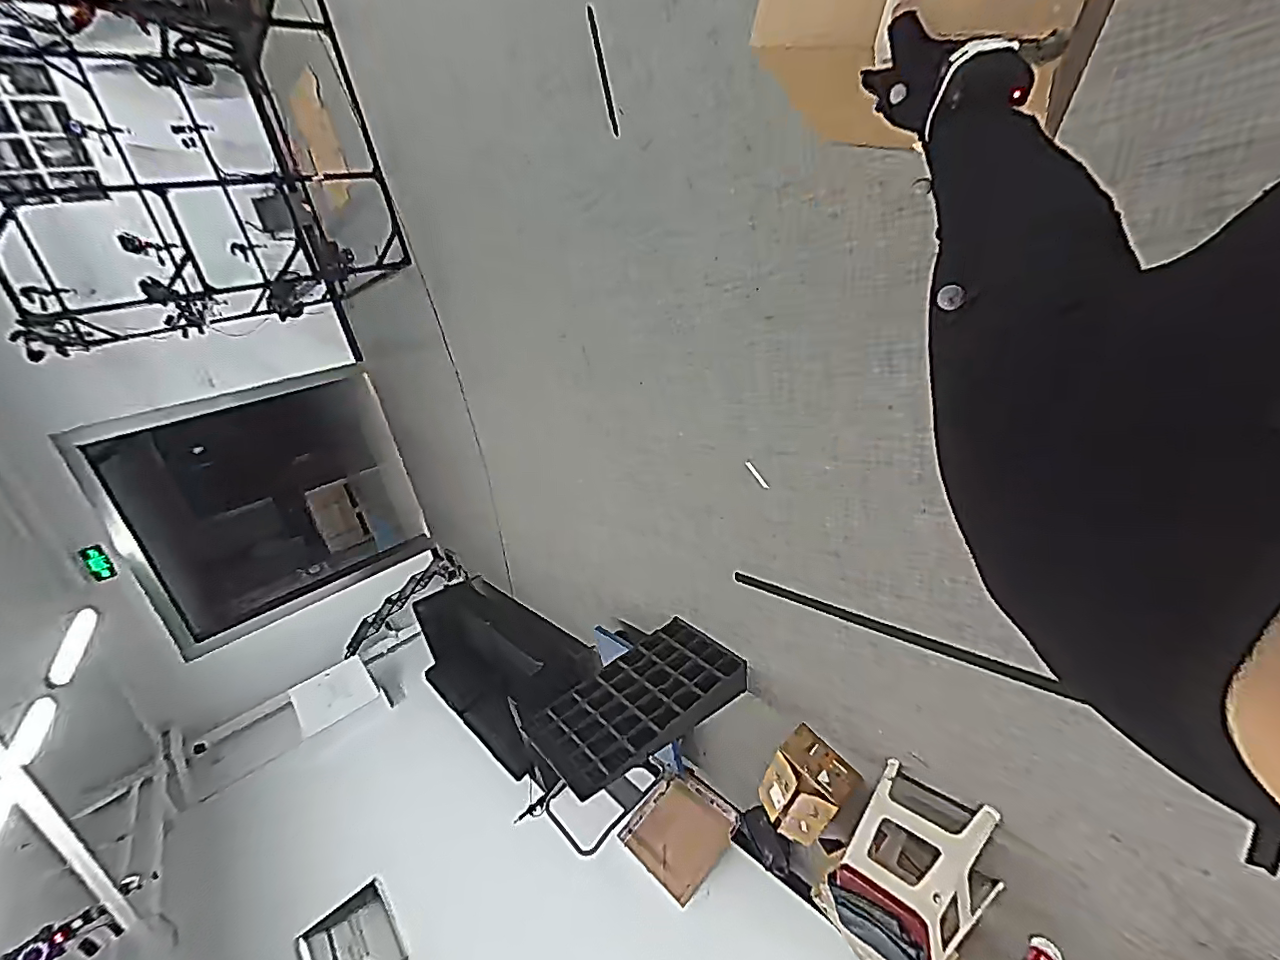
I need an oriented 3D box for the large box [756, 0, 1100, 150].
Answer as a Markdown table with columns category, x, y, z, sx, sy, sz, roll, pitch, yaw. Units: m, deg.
| category | x | y | z | sx | sy | sz | roll | pitch | yaw |
| --- | --- | --- | --- | --- | --- | --- | --- | --- | --- |
| large box | 0.376 | -0.654 | 0.613 | 0.320 | 0.320 | 0.408 | 24 | 114 | 29 |
